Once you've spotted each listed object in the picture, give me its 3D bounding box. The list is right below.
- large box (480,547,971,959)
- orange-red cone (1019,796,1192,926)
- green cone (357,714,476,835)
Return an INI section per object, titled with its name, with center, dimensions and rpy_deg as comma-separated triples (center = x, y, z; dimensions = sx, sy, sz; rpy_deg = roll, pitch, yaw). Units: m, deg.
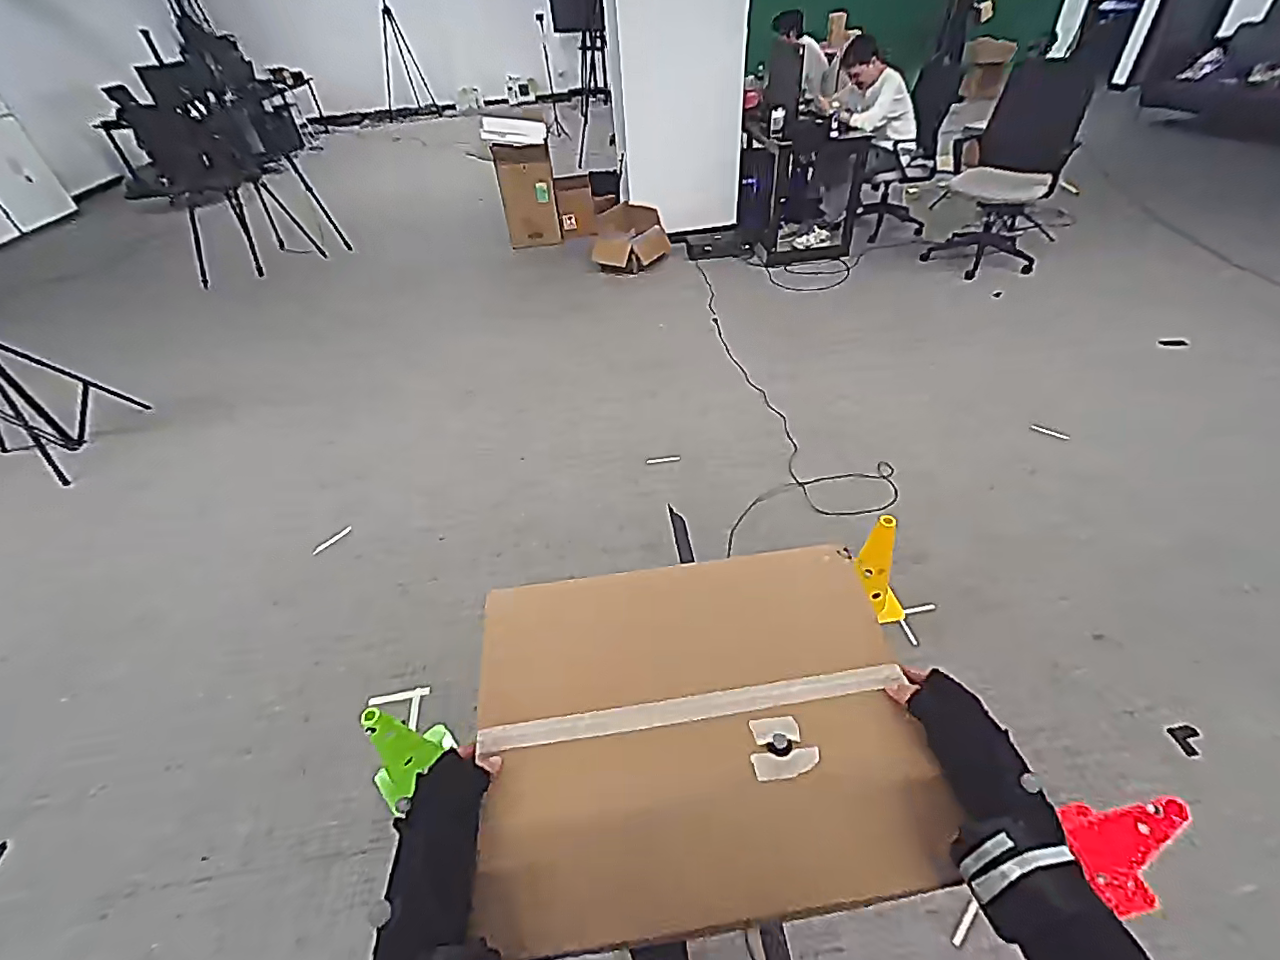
[large box]
center = 0.056, 0.316, 0.627
dimensions = 0.408, 0.320, 0.320
rpy_deg = -7, 49, -4
[orange-red cone]
center = 0.950, 0.700, 1.057
dimensions = 0.198, 0.360, 0.199
rpy_deg = -9, 41, -5
[green cone]
center = -0.570, 0.647, 1.287
dimensions = 0.200, 0.368, 0.202
rpy_deg = 31, 55, 35
